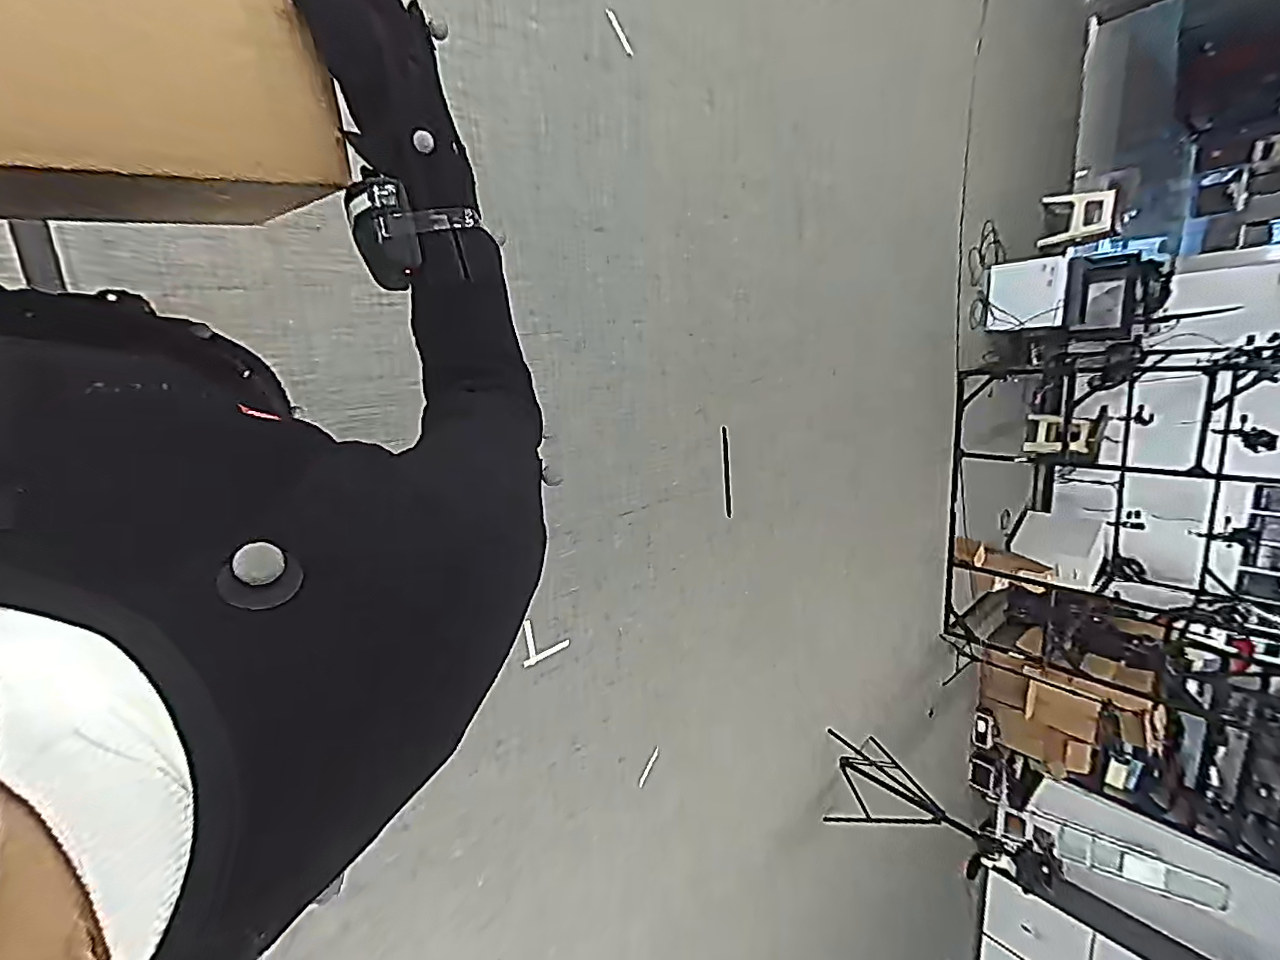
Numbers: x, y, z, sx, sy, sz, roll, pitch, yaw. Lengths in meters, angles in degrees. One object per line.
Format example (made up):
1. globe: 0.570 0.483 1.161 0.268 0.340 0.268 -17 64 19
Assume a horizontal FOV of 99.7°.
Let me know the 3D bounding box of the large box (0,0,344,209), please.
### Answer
1. large box: -0.460 -0.336 0.299 0.408 0.320 0.320 -22 120 -40
